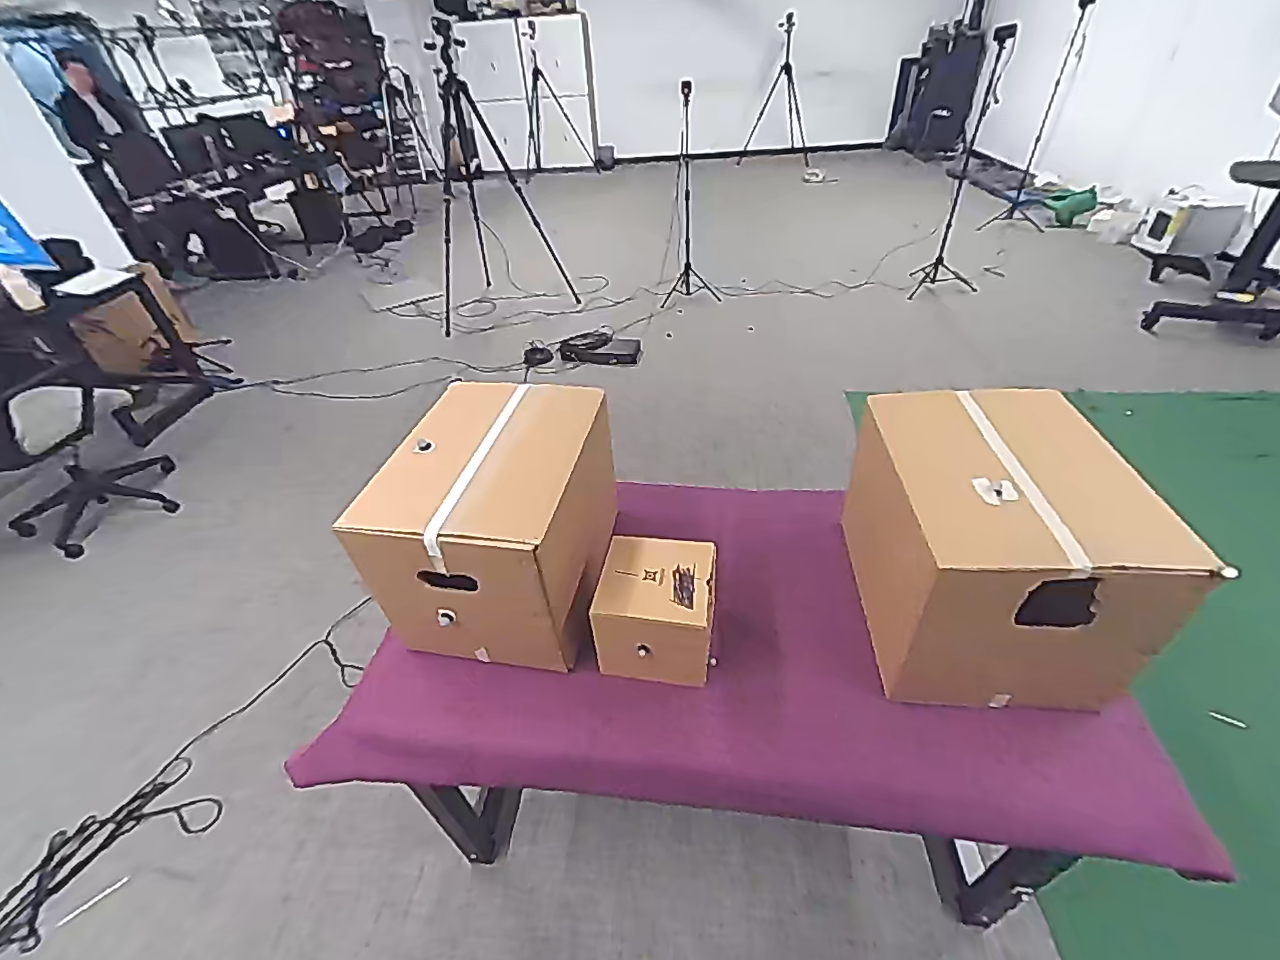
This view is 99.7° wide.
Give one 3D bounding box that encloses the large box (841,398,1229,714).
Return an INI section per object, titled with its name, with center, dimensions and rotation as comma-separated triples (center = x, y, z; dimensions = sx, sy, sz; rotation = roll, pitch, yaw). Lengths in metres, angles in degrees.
[large box]
center = 0.540, 0.104, 0.868
dimensions = 0.320, 0.320, 0.408
rotation = -1, 40, 8
